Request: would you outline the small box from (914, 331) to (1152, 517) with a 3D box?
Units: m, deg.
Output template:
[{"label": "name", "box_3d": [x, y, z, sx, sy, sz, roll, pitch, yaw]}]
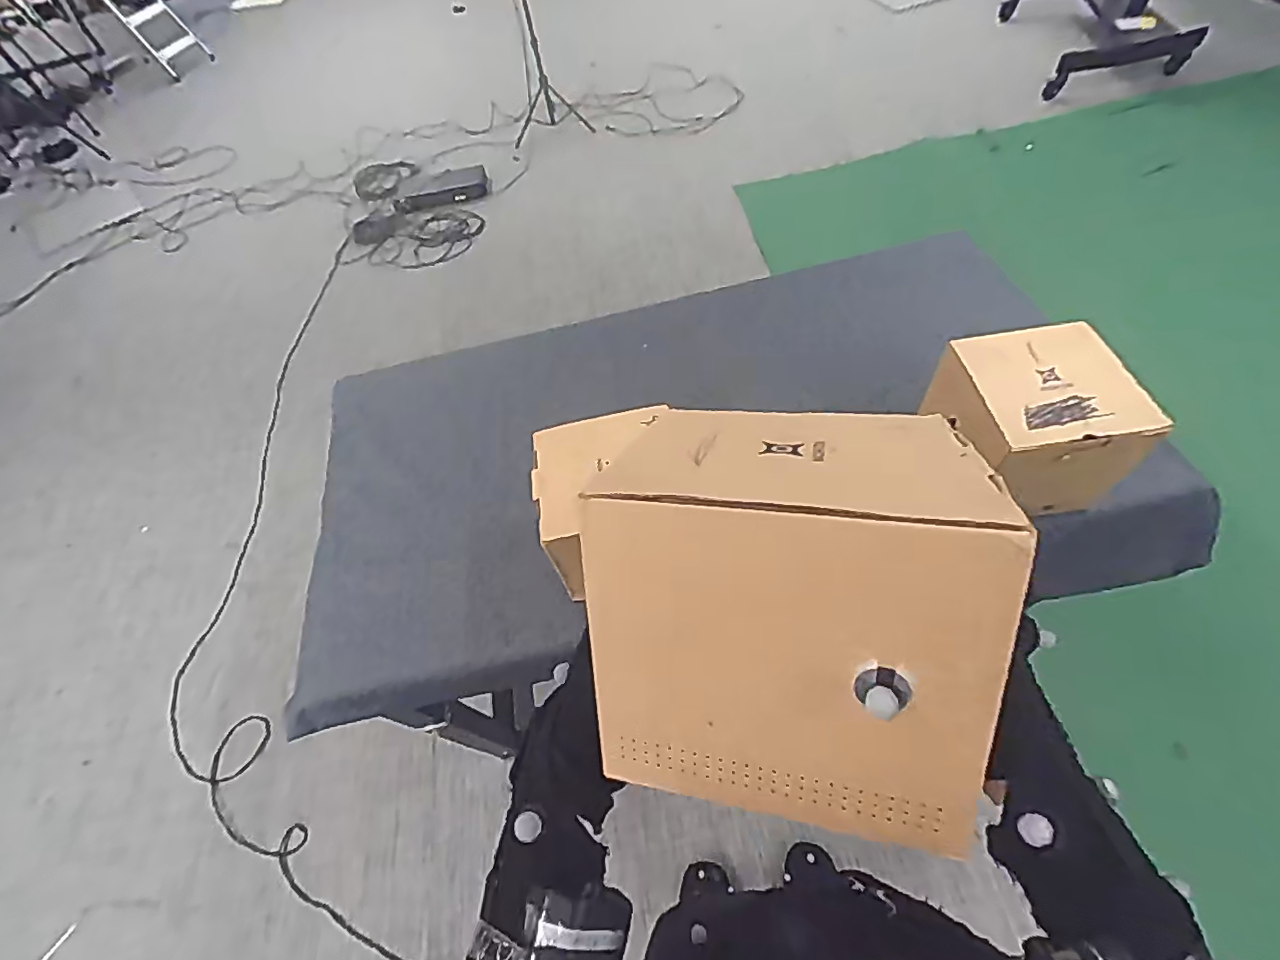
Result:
[{"label": "small box", "box_3d": [0.478, -0.061, 0.699, 0.168, 0.176, 0.179, -7, 55, 4]}]

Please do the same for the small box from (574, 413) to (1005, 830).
[{"label": "small box", "box_3d": [0.079, 0.063, 0.319, 0.179, 0.176, 0.168, 3, 20, 17]}]

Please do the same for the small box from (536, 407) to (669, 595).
[{"label": "small box", "box_3d": [-0.027, 0.034, 0.710, 0.179, 0.176, 0.168, -11, 54, 1]}]
